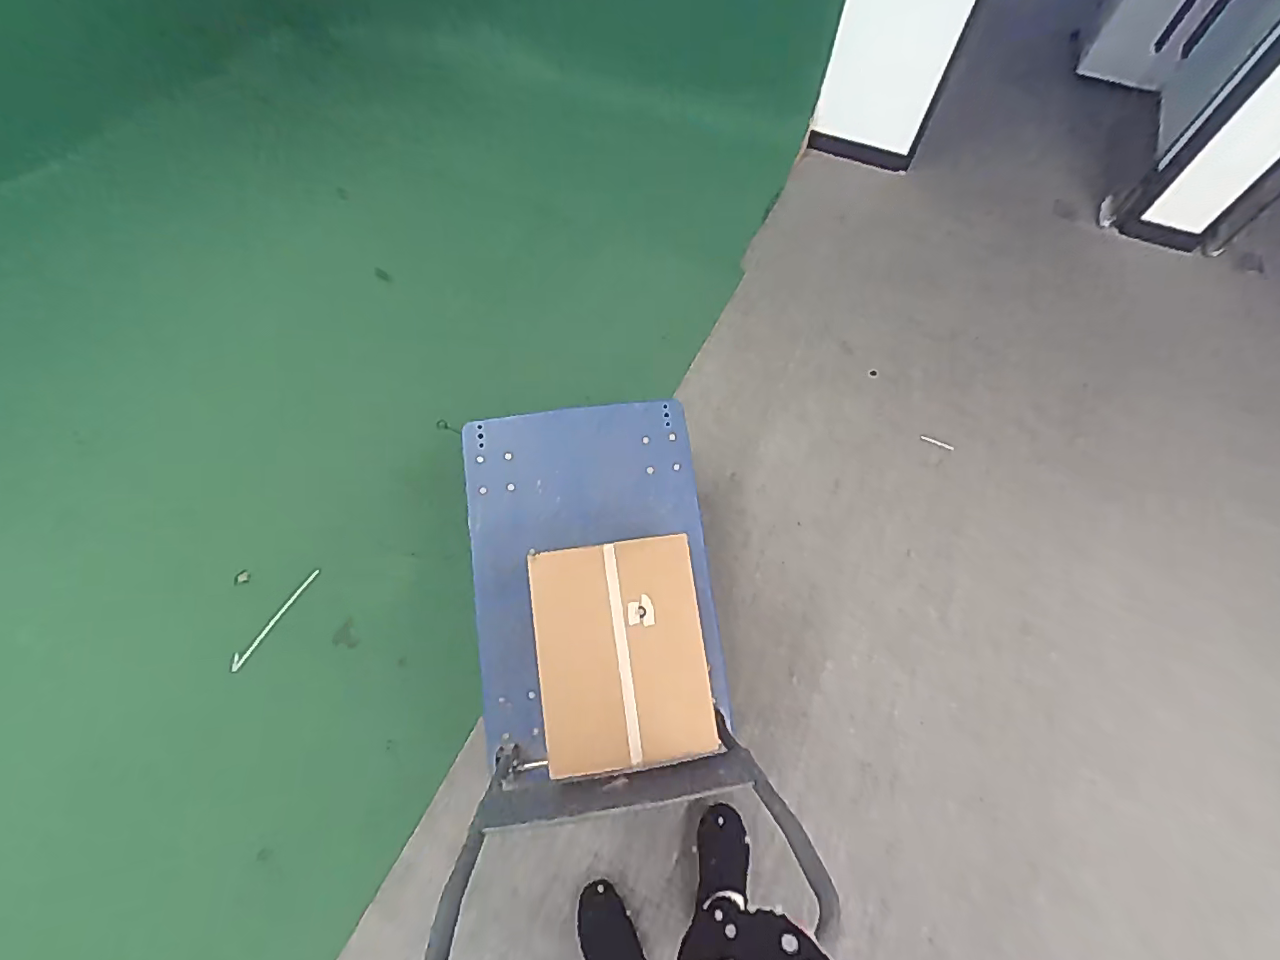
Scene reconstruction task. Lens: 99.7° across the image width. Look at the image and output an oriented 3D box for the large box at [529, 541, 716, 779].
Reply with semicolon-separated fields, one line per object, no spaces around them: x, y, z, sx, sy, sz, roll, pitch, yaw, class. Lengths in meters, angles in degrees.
-0.044;0.363;1.176;0.320;0.320;0.408;-7;79;-5;large box
